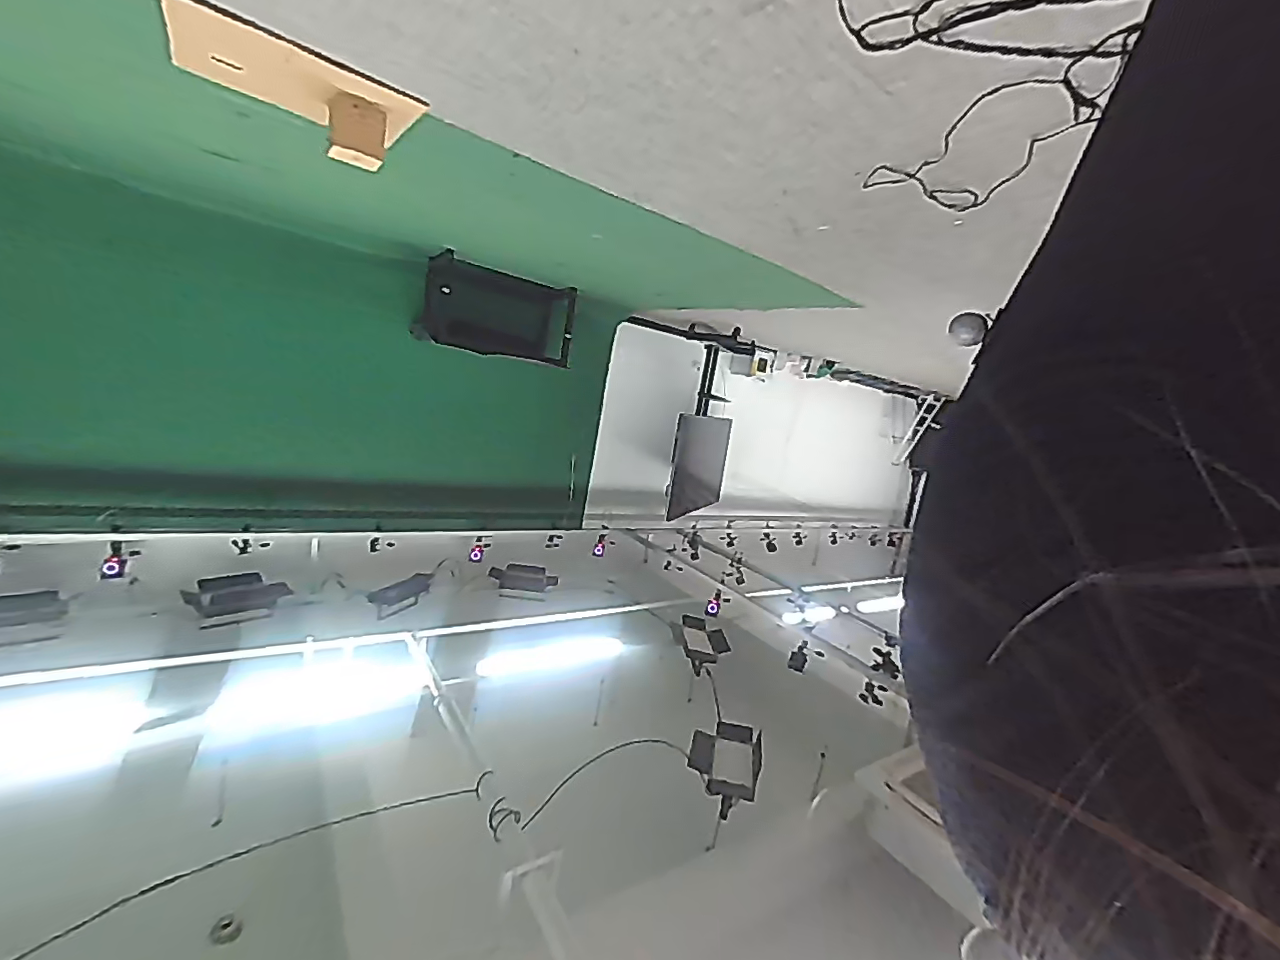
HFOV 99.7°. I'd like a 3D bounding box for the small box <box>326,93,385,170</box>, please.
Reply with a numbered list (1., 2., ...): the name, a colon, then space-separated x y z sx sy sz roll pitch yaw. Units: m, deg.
1. small box: -1.045 -1.277 1.988 0.168 0.176 0.179 1 -167 -37
